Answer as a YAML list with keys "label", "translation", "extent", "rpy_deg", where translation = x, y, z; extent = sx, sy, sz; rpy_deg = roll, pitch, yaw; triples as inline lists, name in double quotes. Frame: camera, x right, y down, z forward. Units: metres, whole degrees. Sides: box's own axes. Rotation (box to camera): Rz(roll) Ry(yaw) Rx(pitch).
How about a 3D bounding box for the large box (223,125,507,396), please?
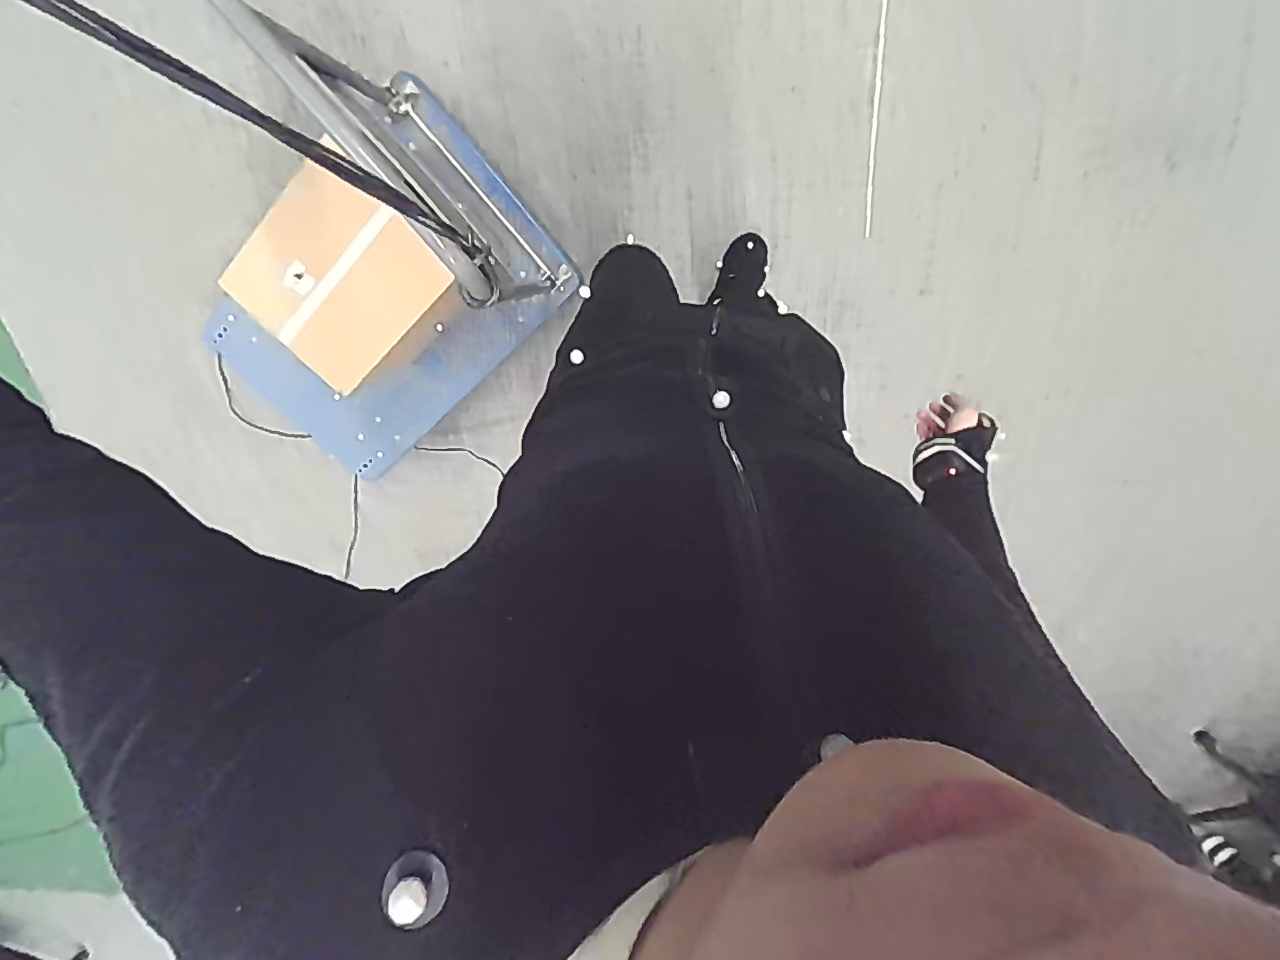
- label: "large box"
  translation: [-0.564, -0.460, 1.171]
  extent: [0.408, 0.320, 0.320]
  rpy_deg: [-37, 106, 19]
